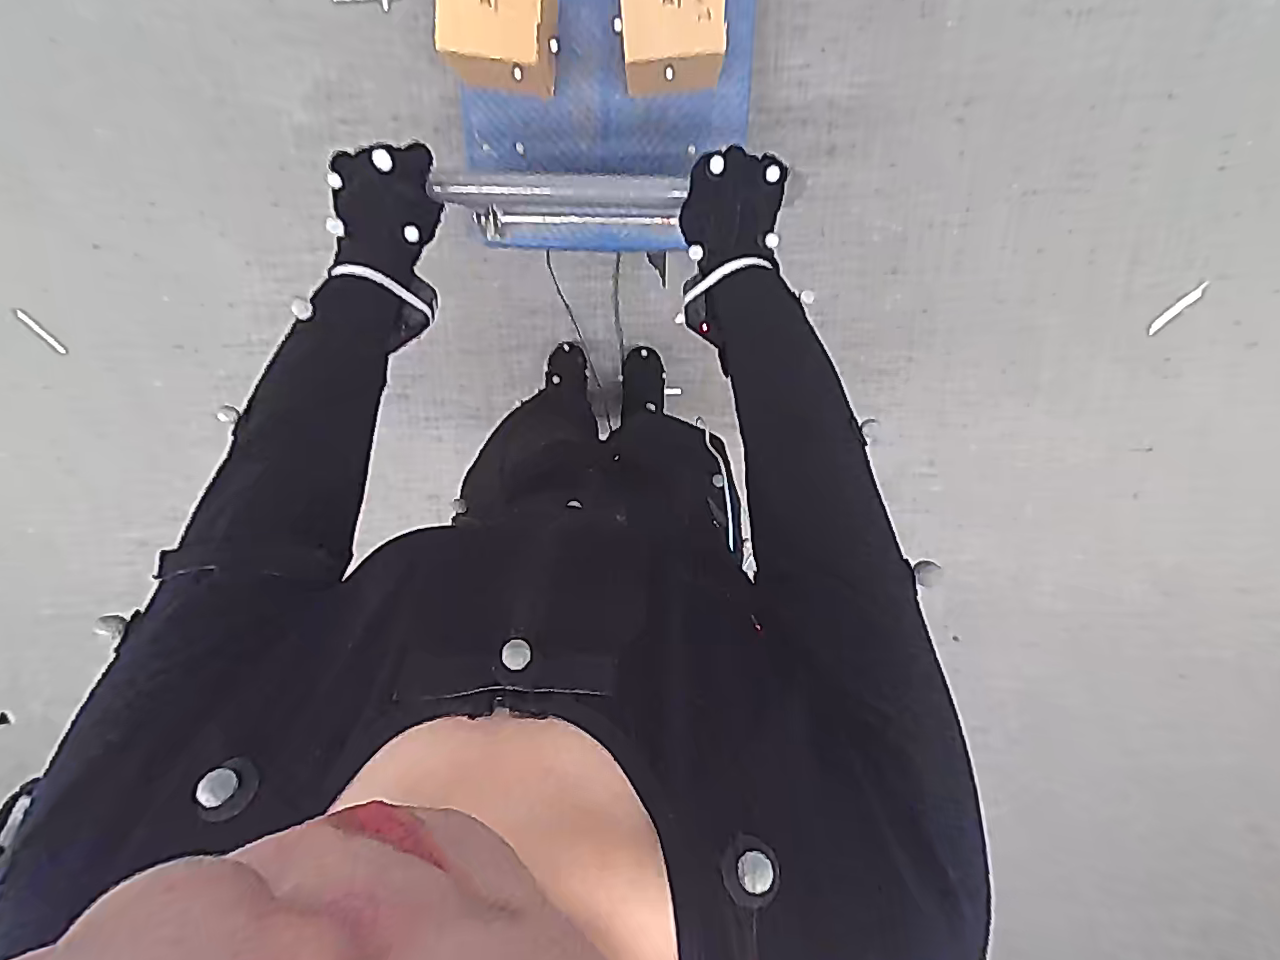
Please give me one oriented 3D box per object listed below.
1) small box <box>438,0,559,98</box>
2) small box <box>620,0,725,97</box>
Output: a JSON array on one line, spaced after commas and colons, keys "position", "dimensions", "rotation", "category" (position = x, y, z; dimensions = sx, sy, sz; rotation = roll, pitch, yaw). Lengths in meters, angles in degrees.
[{"position": [-0.251, -0.825, 0.982], "dimensions": [0.179, 0.176, 0.168], "rotation": [6, 108, -3], "category": "small box"}, {"position": [0.056, -0.821, 0.977], "dimensions": [0.179, 0.176, 0.168], "rotation": [-4, 108, 3], "category": "small box"}]
